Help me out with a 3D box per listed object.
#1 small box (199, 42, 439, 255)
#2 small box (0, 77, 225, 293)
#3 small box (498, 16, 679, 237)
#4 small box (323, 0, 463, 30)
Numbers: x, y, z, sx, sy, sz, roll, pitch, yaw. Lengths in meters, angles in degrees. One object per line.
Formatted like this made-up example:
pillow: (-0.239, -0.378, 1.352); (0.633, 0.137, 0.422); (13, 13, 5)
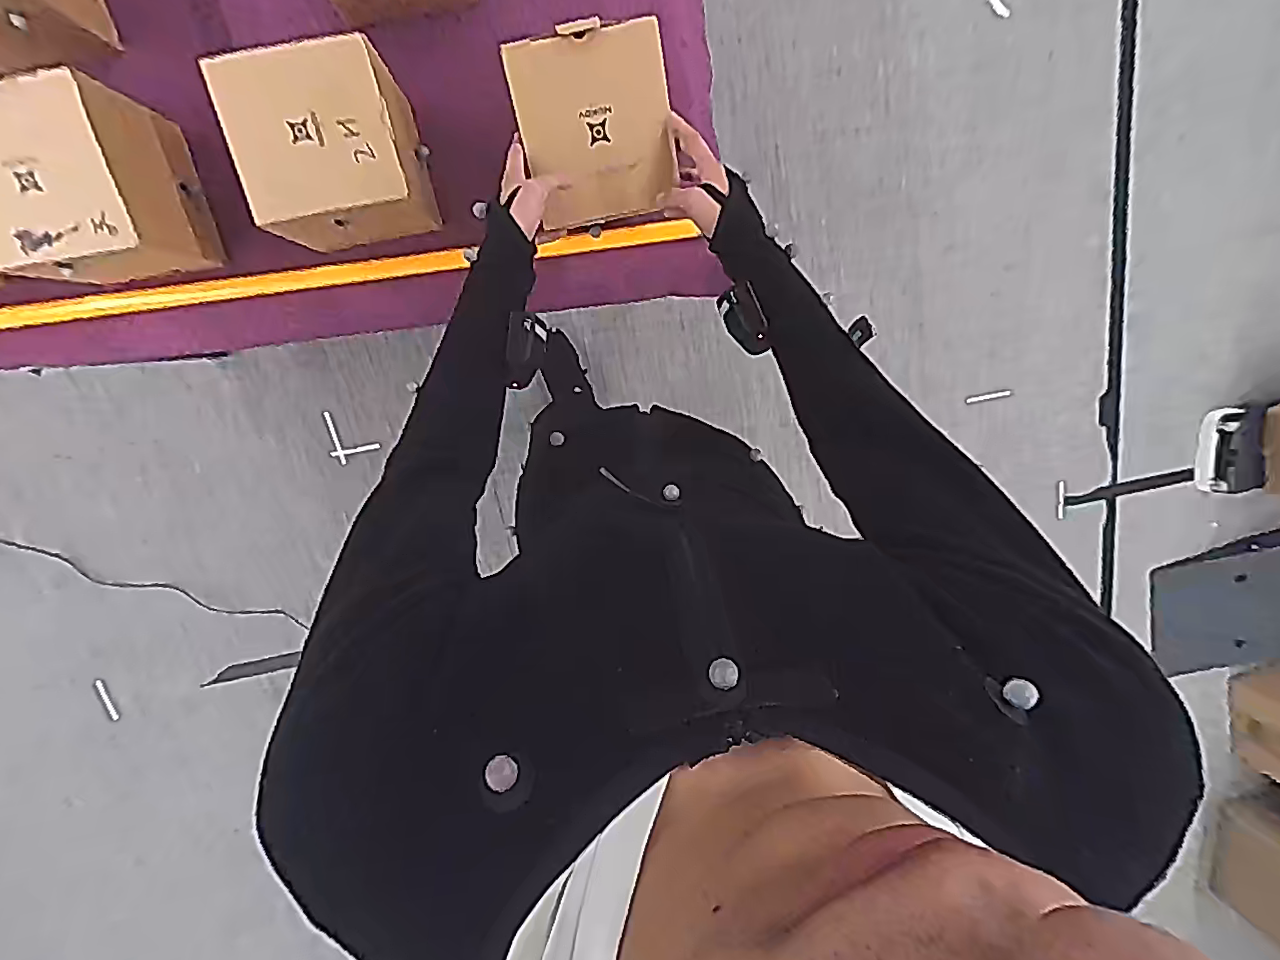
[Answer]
small box: (-0.373, -0.389, 0.667); (0.179, 0.176, 0.168); (-13, 104, -4)
small box: (-0.654, -0.334, 0.645); (0.168, 0.176, 0.179); (-11, 105, -3)
small box: (-0.061, -0.404, 0.650); (0.168, 0.176, 0.179); (-13, 113, -2)
small box: (-0.306, -0.657, 0.610); (0.179, 0.176, 0.168); (-14, 106, -3)
